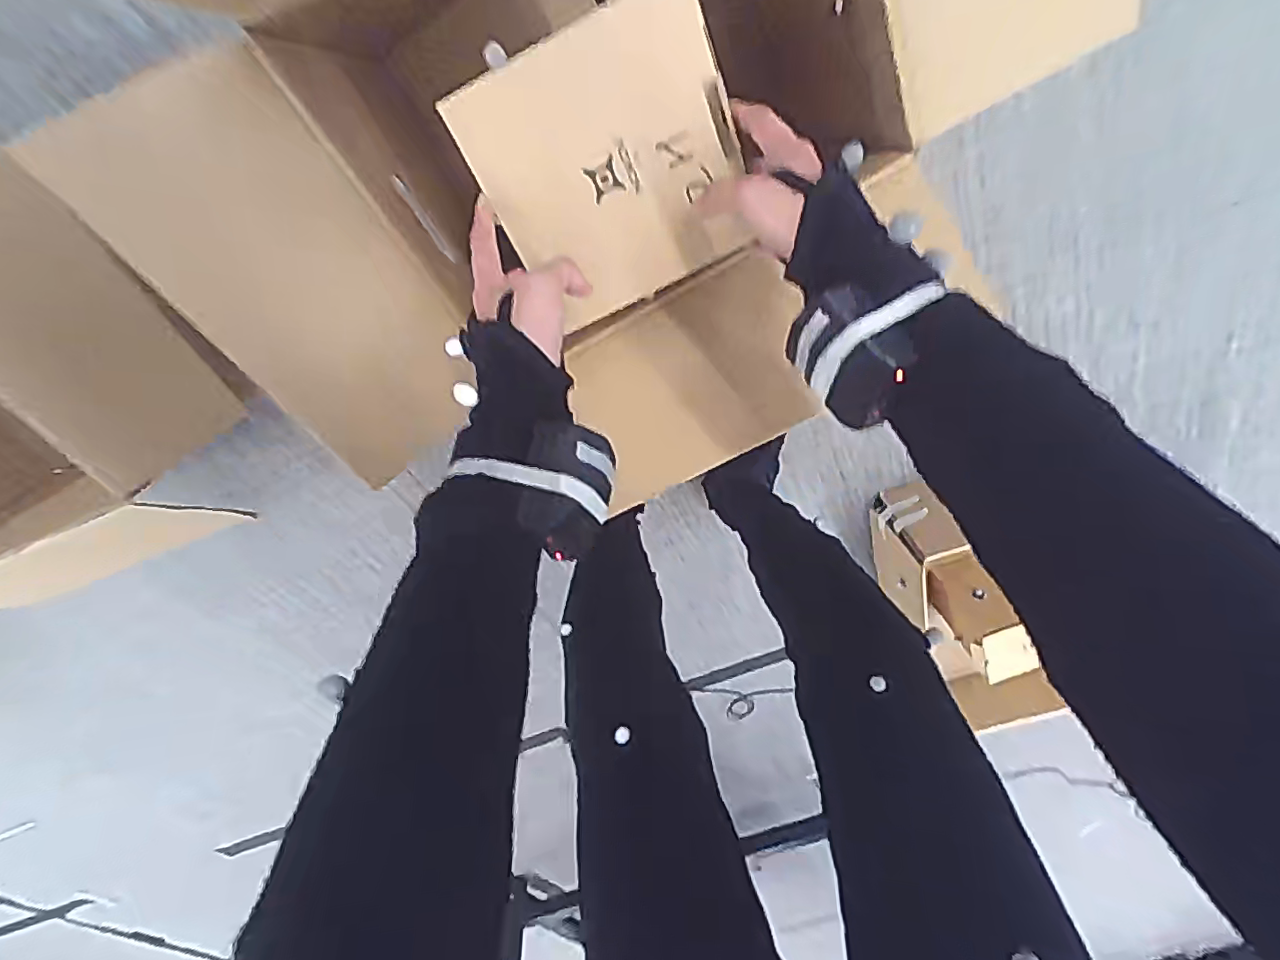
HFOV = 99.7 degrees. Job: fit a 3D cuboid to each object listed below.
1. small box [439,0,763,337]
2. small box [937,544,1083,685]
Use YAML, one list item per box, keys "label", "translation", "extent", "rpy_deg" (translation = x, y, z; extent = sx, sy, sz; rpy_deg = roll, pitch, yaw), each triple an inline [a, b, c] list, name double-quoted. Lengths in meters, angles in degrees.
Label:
- label: "small box"
  translation: [-0.027, -0.245, 0.434]
  extent: [0.179, 0.176, 0.168]
  rpy_deg: [-24, 123, 6]
- label: "small box"
  translation: [0.696, 0.255, 1.036]
  extent: [0.179, 0.176, 0.168]
  rpy_deg: [-24, 124, 10]
